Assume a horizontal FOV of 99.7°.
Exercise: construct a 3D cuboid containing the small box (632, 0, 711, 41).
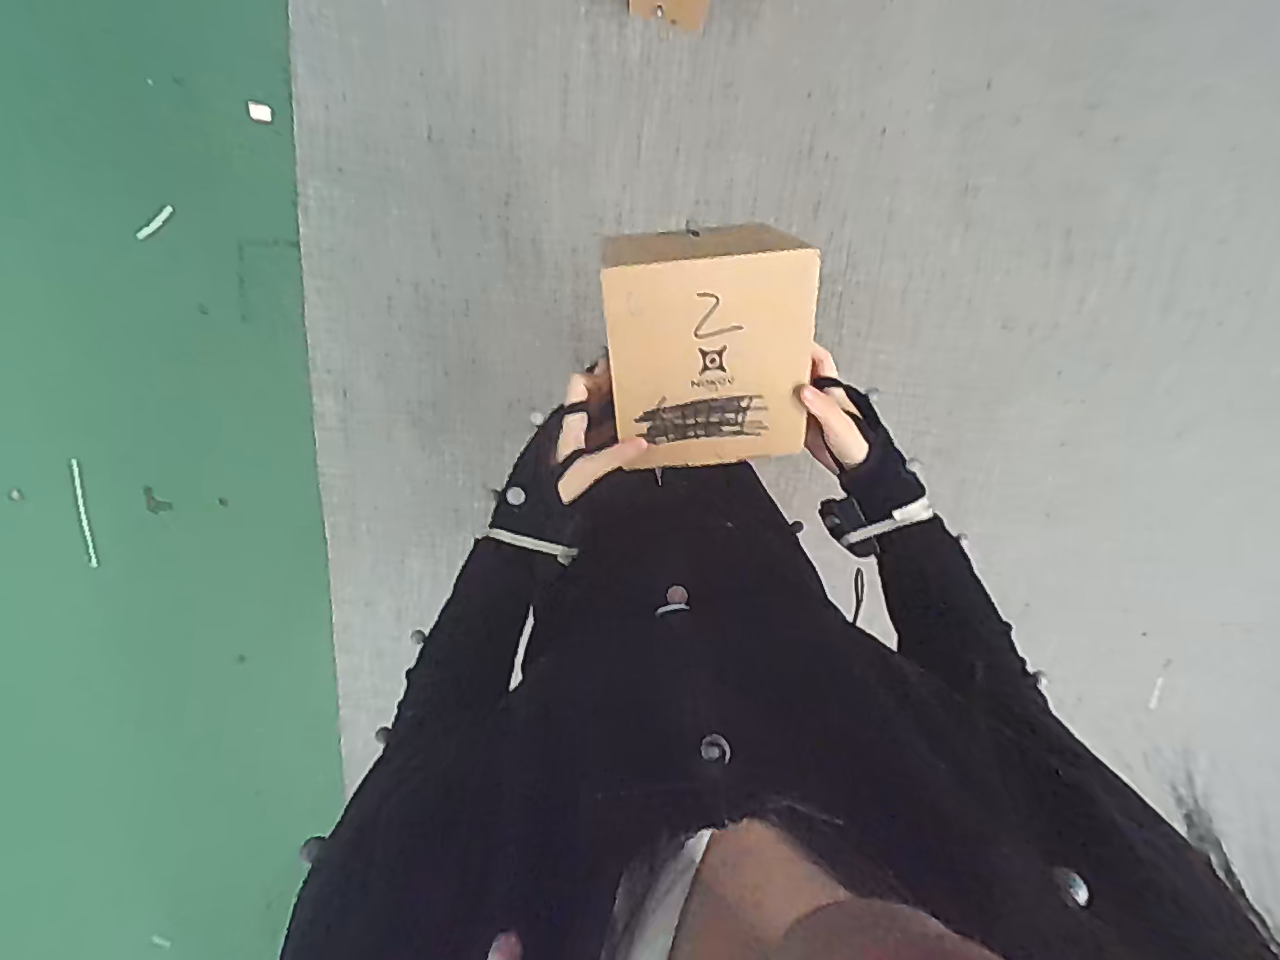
[{"bbox_3d":[0.080,-1.064,1.110,0.168,0.176,0.179,15,105,-5],"label":"small box"}]
